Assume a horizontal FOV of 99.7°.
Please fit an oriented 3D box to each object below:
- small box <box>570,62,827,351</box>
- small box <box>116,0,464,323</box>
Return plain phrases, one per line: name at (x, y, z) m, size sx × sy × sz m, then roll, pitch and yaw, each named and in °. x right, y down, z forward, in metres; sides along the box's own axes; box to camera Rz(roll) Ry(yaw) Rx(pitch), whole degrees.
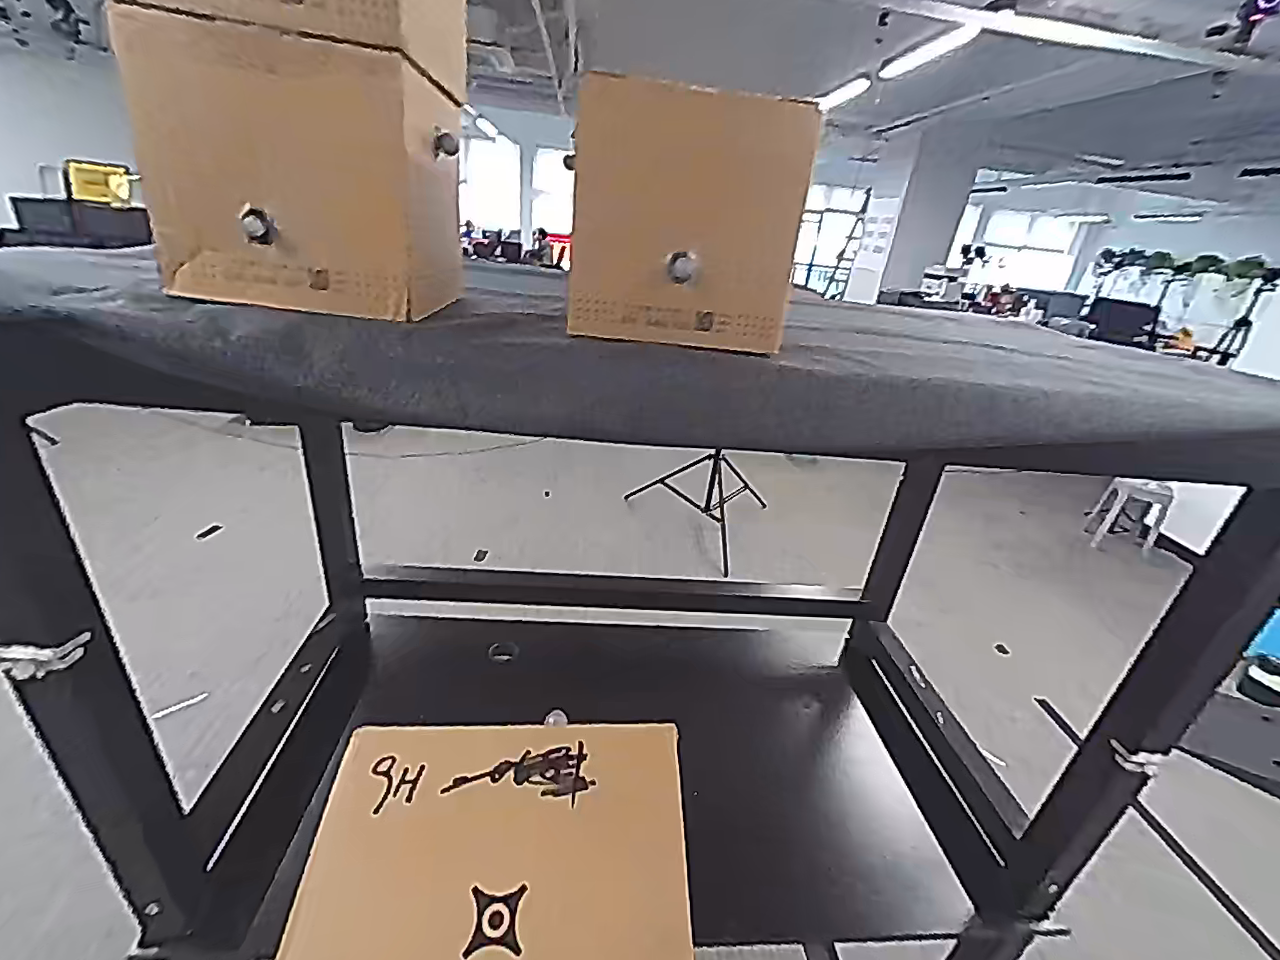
small box at (0.030, -0.214, 0.457) m, size 0.168 × 0.176 × 0.179 m, roll 4°, pitch 23°, yaw -6°
small box at (-0.242, -0.229, 0.427) m, size 0.168 × 0.176 × 0.179 m, roll 4°, pitch 24°, yaw -8°
